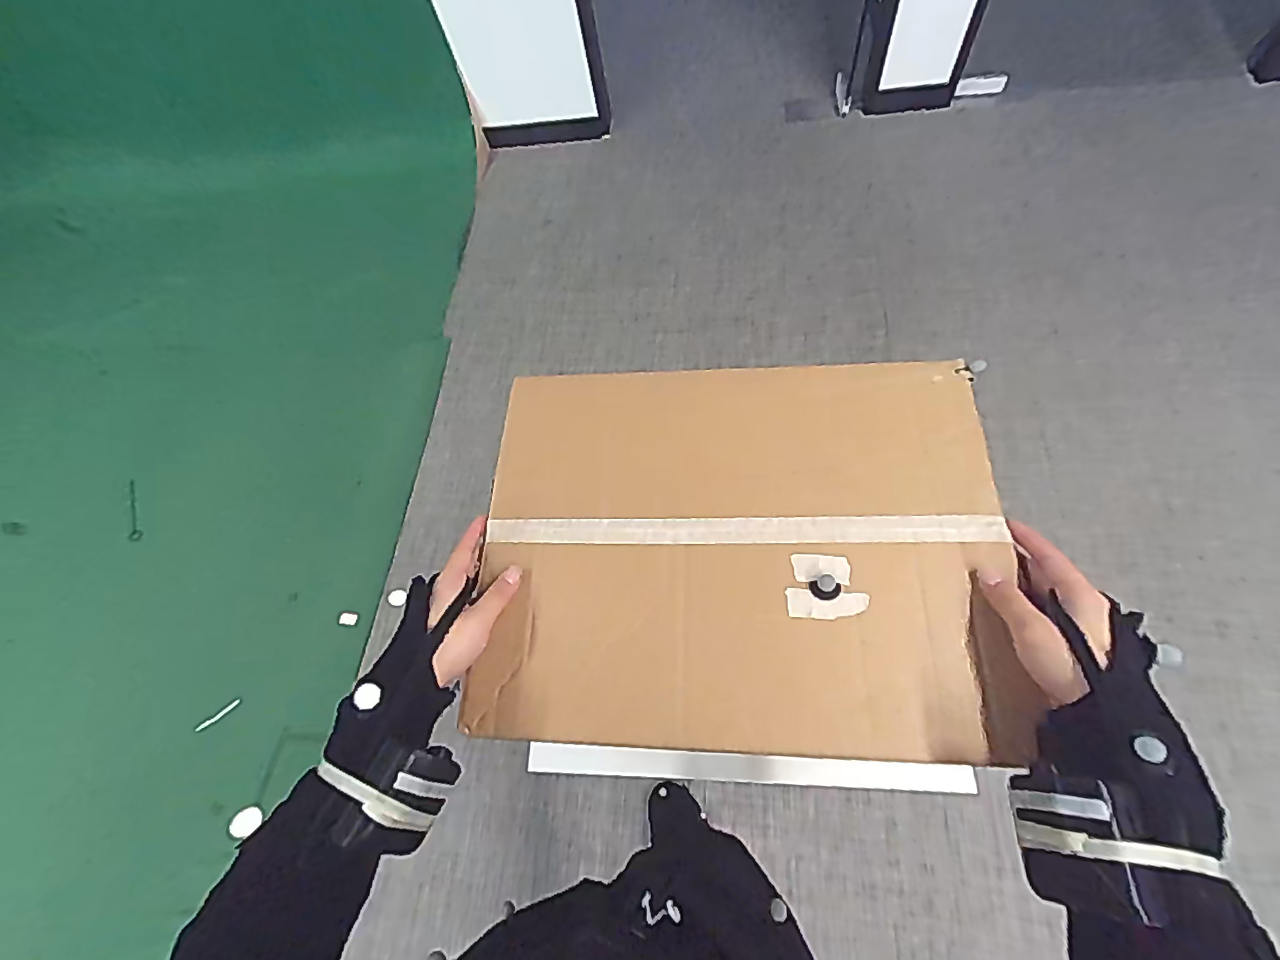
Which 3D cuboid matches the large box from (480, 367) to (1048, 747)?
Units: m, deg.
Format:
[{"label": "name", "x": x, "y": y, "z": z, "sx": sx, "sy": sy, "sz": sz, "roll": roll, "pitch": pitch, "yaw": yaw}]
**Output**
[{"label": "large box", "x": 0.095, "y": 0.104, "z": 0.575, "sx": 0.408, "sy": 0.320, "sz": 0.320, "roll": -1, "pitch": 66, "yaw": 7}]
